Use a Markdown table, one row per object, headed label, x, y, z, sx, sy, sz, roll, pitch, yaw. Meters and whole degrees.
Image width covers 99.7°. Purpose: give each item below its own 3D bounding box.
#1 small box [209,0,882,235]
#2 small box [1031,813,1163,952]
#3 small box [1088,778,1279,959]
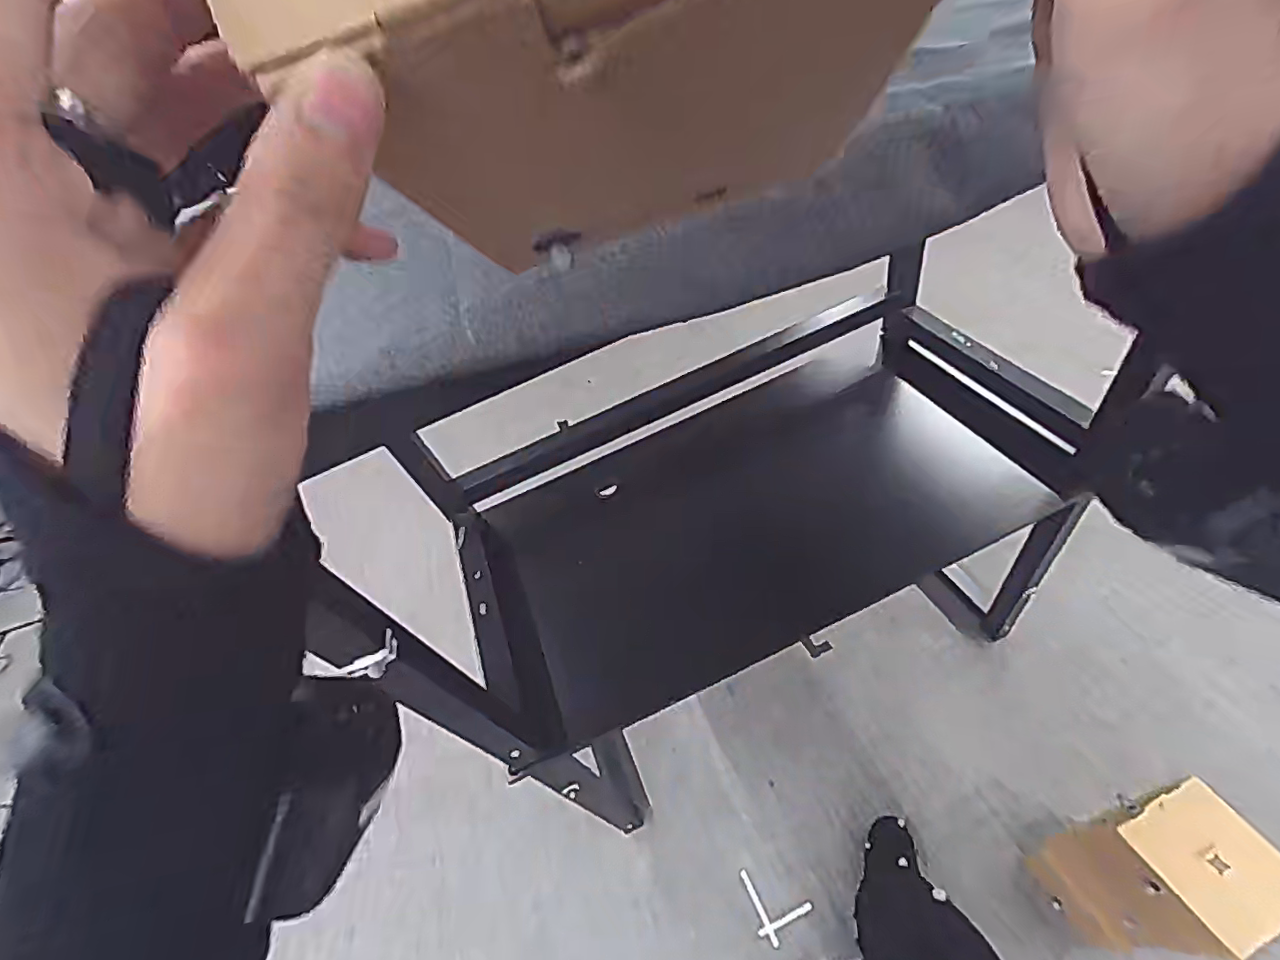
| label | x | y | z | sx | sy | sz | roll | pitch | yaw |
| --- | --- | --- | --- | --- | --- | --- | --- | --- | --- |
| small box | -0.022 | -0.199 | 0.170 | 0.168 | 0.179 | 0.176 | -16 | 6 | 7 |
| small box | 0.947 | 0.813 | 1.097 | 0.179 | 0.176 | 0.168 | -27 | 48 | -5 |
| small box | 0.874 | 0.610 | 0.851 | 0.168 | 0.176 | 0.179 | -28 | 48 | -6 |
